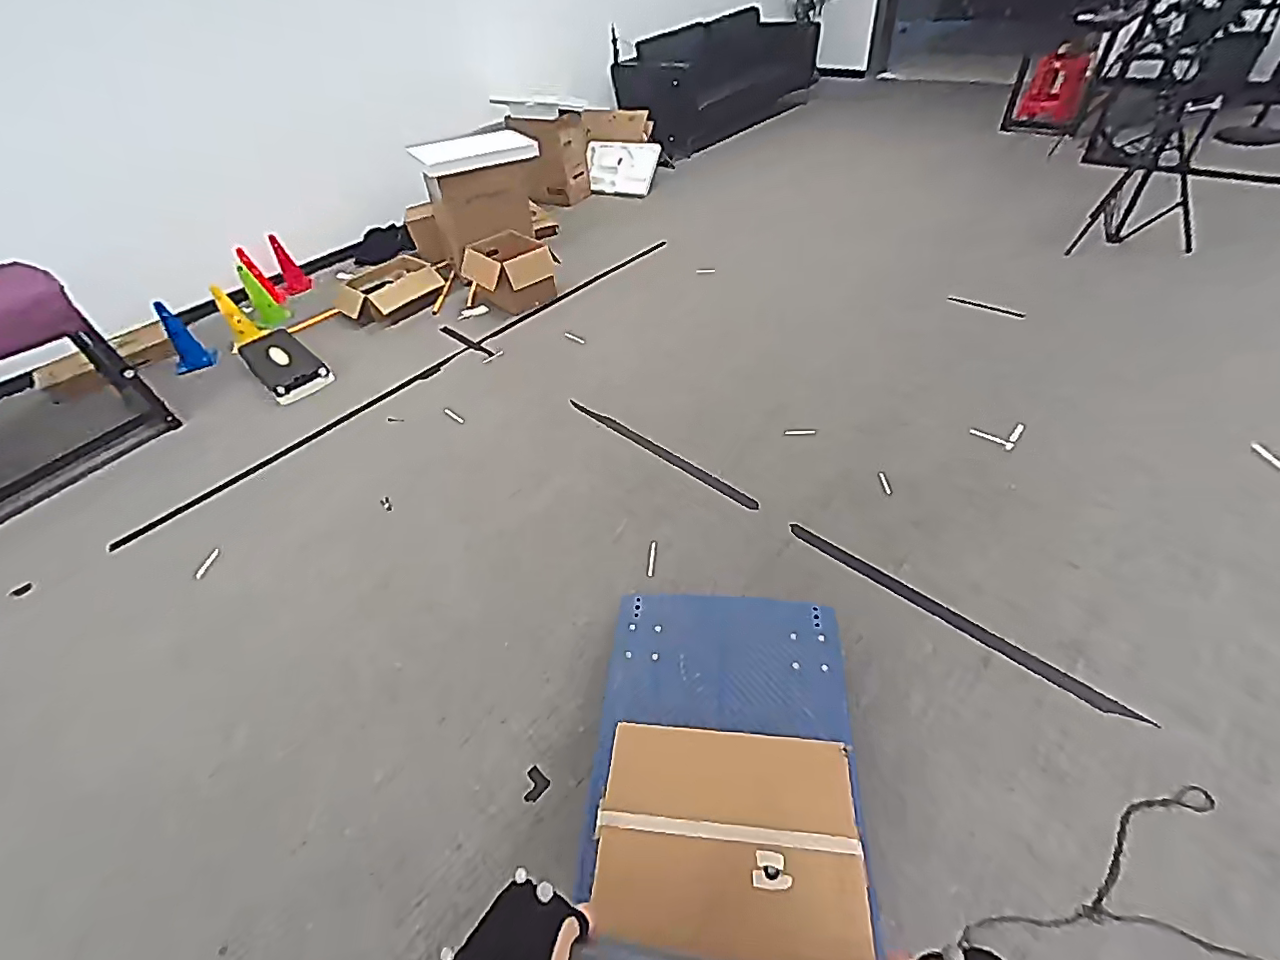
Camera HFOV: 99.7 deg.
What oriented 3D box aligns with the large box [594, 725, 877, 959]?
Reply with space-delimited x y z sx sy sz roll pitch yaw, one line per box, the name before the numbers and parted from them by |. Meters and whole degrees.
large box | 0.152 0.668 0.965 0.408 0.320 0.320 2 45 7
